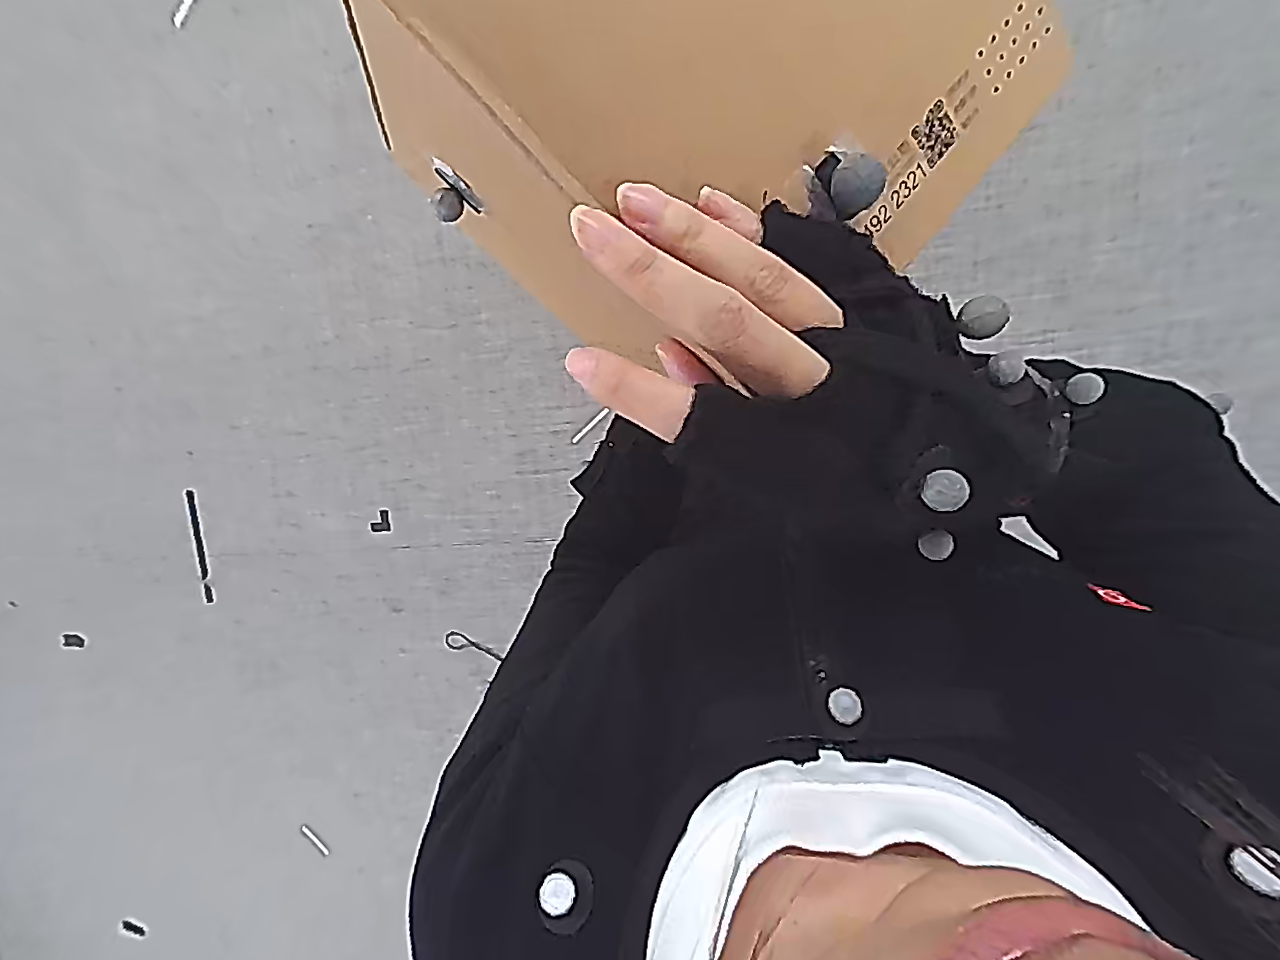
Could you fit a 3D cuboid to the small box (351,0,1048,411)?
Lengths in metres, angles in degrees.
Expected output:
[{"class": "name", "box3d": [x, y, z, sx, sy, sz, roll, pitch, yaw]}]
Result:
[{"class": "small box", "box3d": [0.015, -0.150, 0.232, 0.176, 0.179, 0.168, 39, 90, -26]}]
